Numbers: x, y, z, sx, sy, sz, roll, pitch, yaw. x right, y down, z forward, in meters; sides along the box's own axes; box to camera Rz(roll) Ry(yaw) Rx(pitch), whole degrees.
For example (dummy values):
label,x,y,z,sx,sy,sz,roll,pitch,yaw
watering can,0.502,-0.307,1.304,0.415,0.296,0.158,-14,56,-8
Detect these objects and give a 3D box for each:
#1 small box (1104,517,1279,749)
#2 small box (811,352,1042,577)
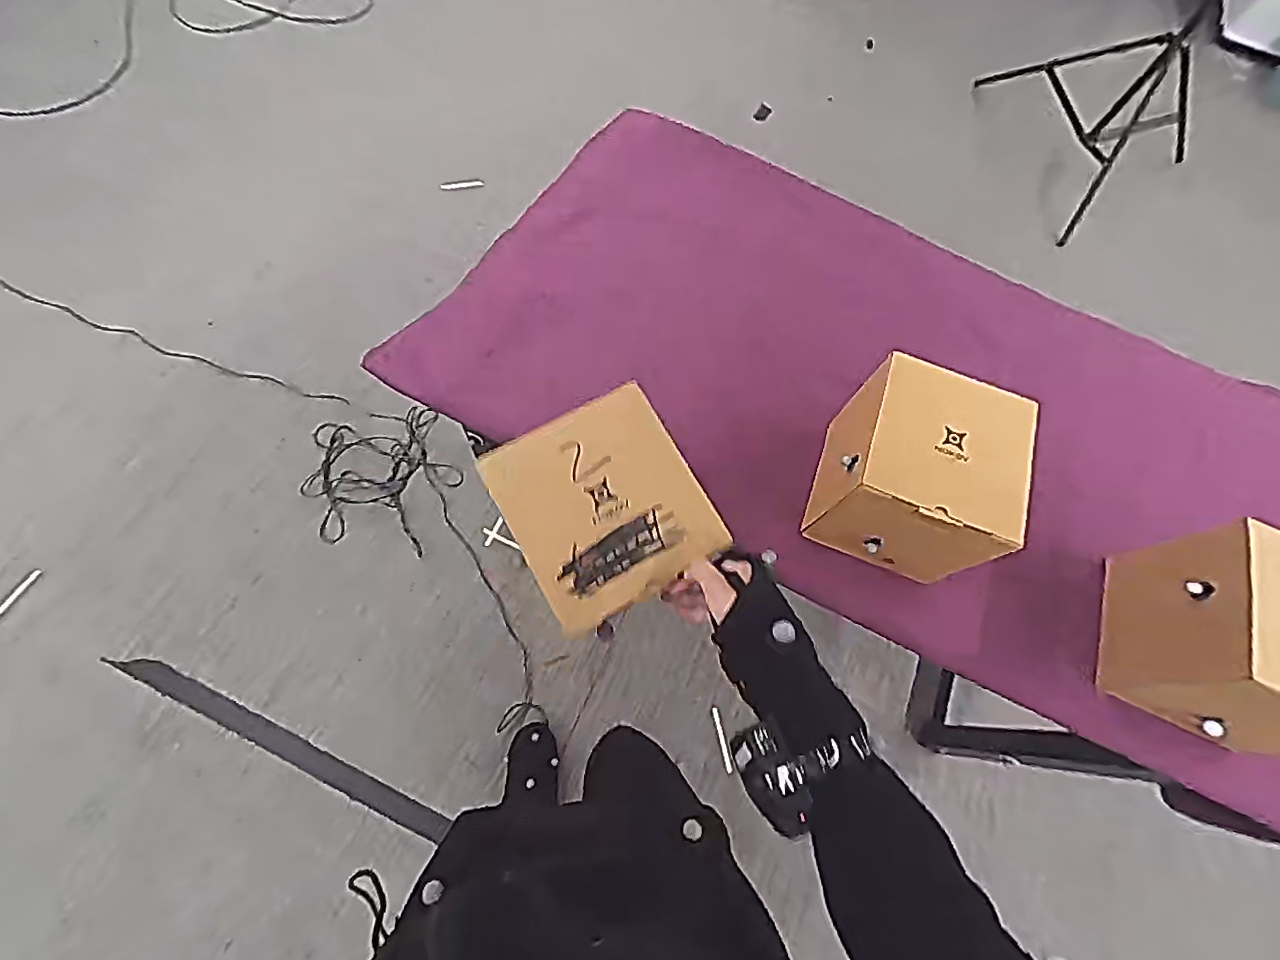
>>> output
label,x,y,z,sx,sy,sz,roll,pitch,yaw
small box,0.654,0.171,0.585,0.168,0.176,0.179,24,67,5
small box,0.318,-0.008,0.625,0.168,0.176,0.179,21,68,3
